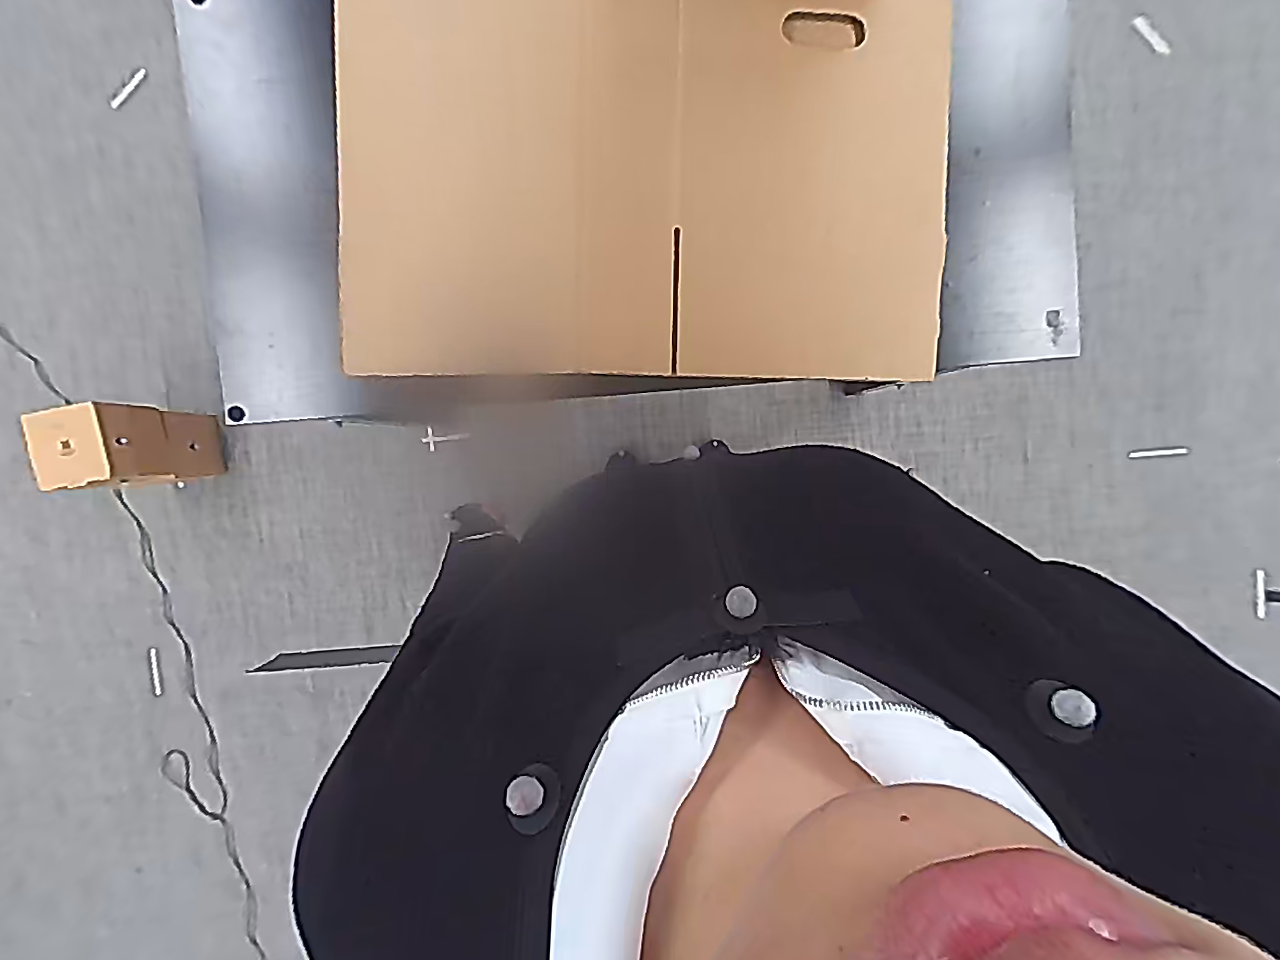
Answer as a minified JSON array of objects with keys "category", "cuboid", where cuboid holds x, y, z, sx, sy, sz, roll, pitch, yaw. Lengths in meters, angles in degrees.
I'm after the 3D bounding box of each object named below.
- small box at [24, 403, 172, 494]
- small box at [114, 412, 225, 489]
[{"category":"small box","cuboid":[-1.256,-0.074,1.267,0.168,0.176,0.179,-12,92,1]},{"category":"small box","cuboid":[-1.251,-0.077,1.430,0.168,0.176,0.179,-9,94,1]}]
